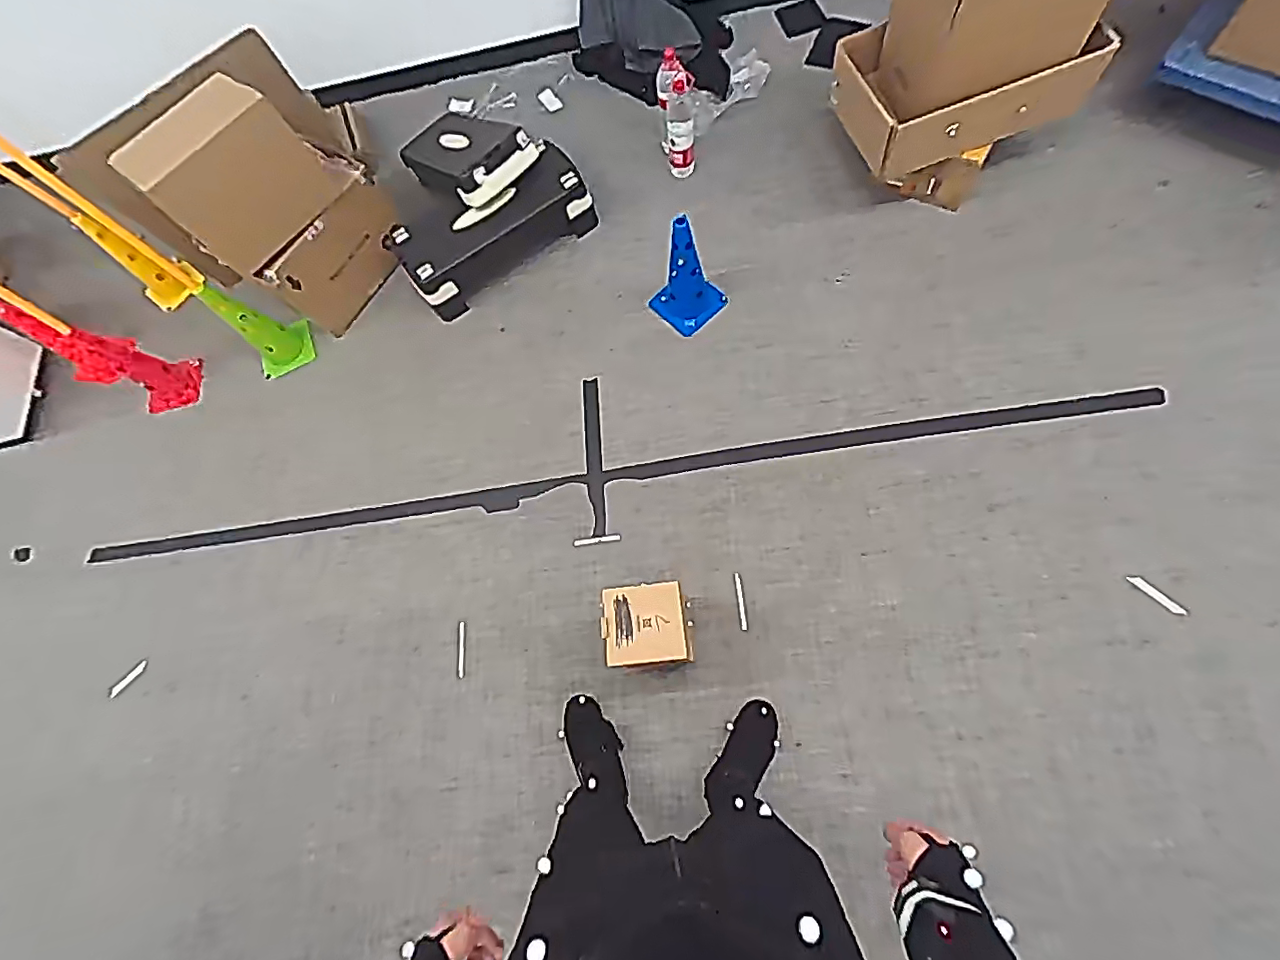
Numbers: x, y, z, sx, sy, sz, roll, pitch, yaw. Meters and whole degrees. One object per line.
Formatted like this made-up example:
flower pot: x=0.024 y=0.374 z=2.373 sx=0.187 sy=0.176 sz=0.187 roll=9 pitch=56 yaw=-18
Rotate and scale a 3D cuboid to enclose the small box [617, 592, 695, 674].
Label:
small box: x=0.045 y=0.396 z=1.396 sx=0.168 sy=0.176 sz=0.179 roll=-11 pitch=70 yaw=5
